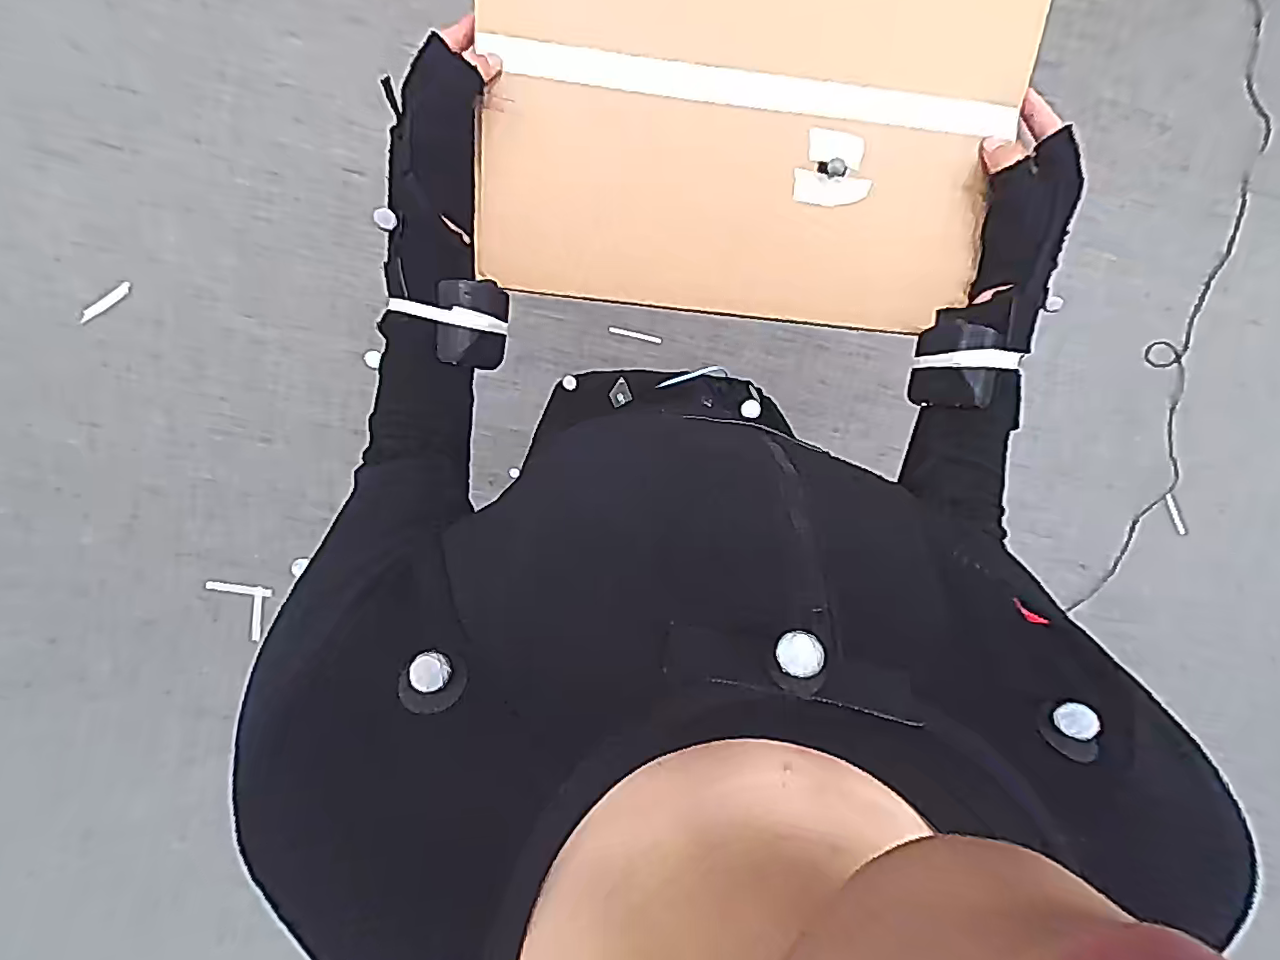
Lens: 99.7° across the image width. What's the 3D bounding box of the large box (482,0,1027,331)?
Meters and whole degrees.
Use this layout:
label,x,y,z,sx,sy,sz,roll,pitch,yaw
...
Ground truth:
label,x,y,z,sx,sy,sz,roll,pitch,yaw
large box,0.071,-0.336,0.552,0.408,0.320,0.320,4,110,-5
